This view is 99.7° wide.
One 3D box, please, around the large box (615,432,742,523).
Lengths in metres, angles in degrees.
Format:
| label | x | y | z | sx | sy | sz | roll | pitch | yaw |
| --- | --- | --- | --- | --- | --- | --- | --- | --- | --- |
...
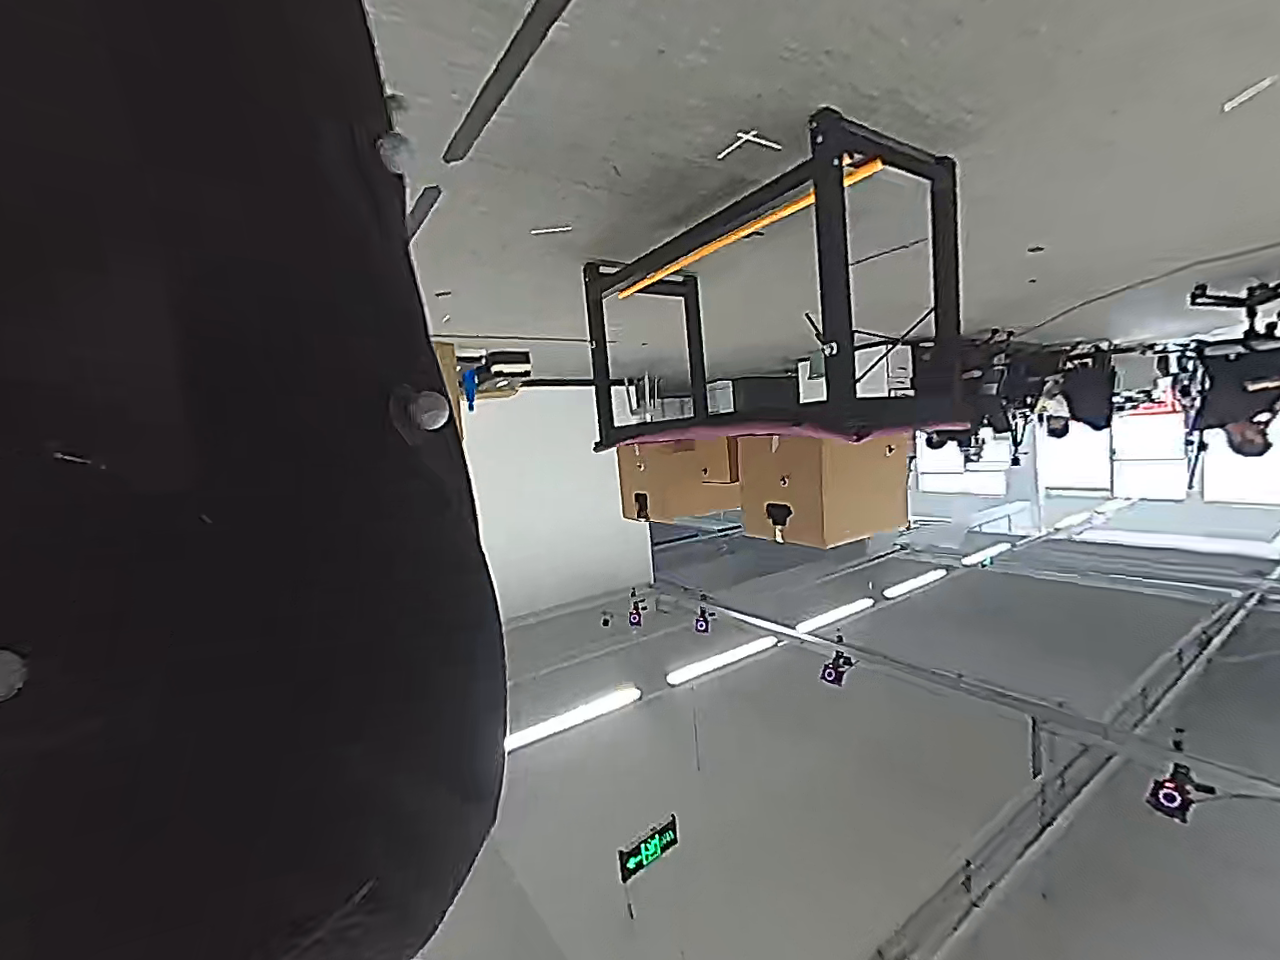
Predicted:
| label | x | y | z | sx | sy | sz | roll | pitch | yaw |
| --- | --- | --- | --- | --- | --- | --- | --- | --- | --- |
| large box | 0.154 | -0.017 | 2.211 | 0.408 | 0.320 | 0.320 | -9 | -173 | -34 |
